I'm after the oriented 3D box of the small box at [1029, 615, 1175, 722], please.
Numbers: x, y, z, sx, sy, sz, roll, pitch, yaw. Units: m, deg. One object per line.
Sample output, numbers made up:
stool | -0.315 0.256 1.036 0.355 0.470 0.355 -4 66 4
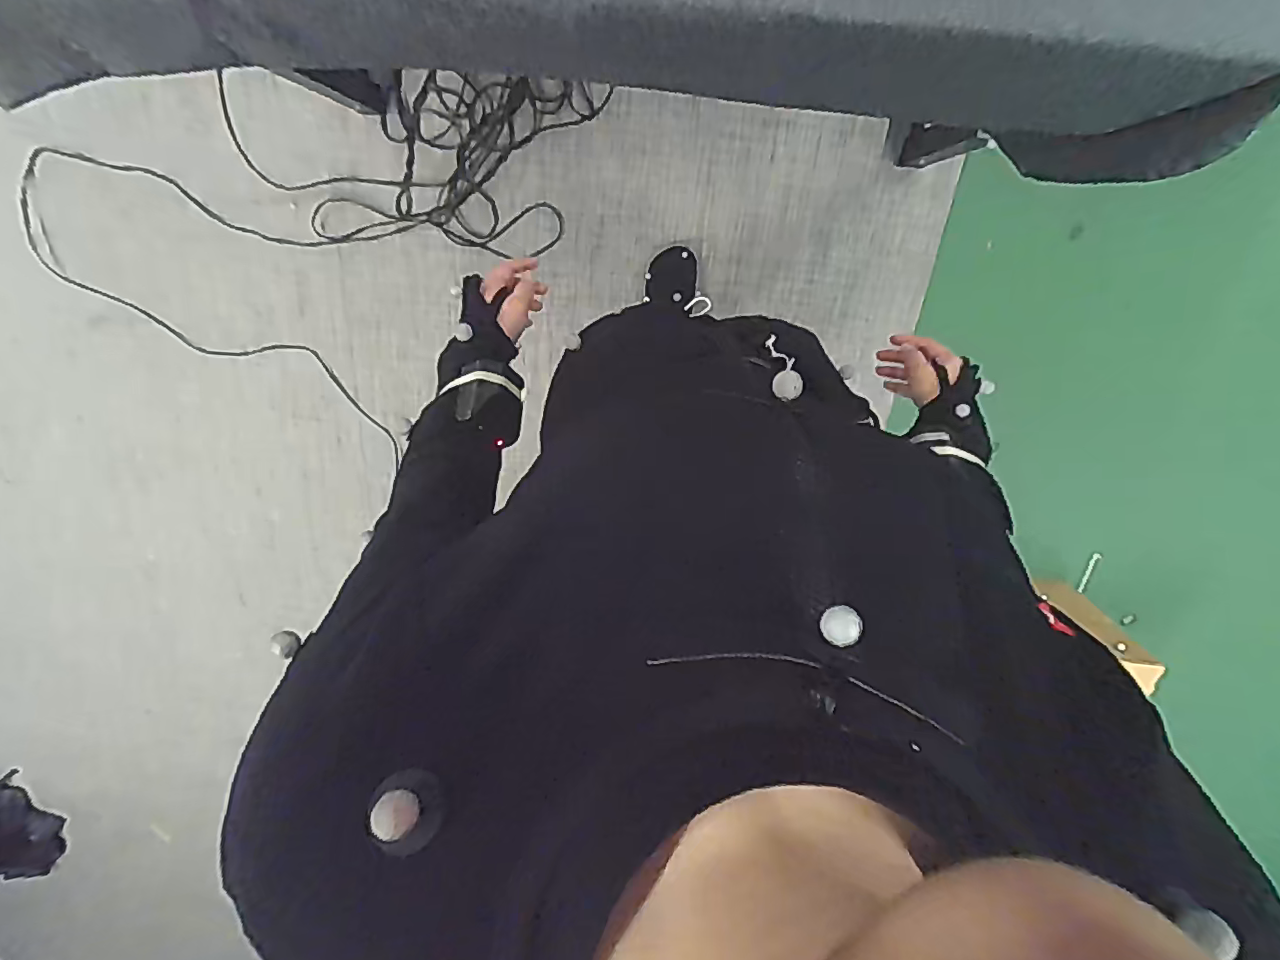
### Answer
small box | 1.086 0.443 1.292 0.179 0.176 0.168 7 113 -1
